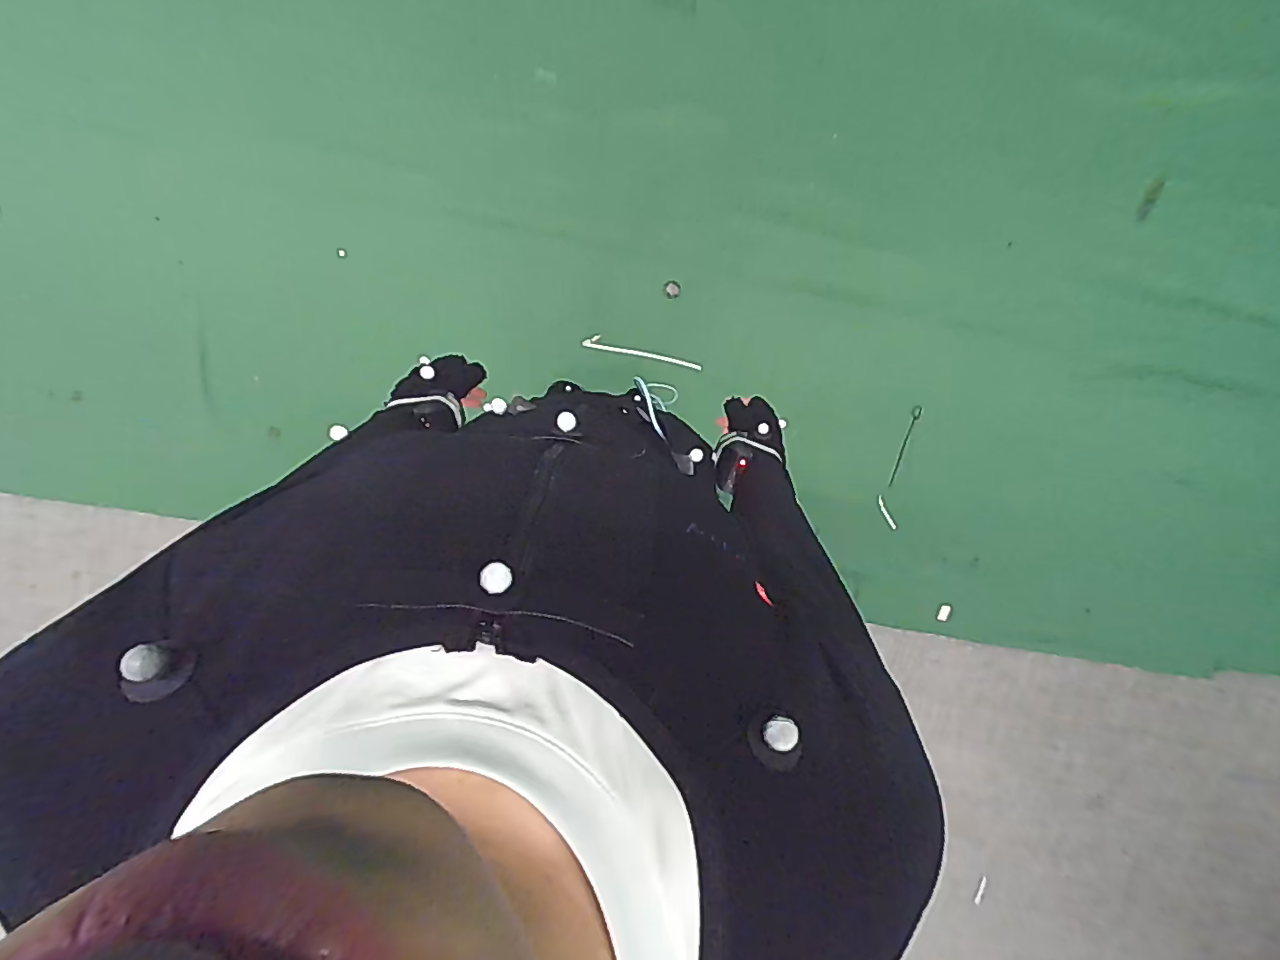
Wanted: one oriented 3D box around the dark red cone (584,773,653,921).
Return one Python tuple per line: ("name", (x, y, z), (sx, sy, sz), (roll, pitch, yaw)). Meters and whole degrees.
("dark red cone", (-0.062, 1.017, 1.494), (0.202, 0.394, 0.201), (4, 100, -3))
